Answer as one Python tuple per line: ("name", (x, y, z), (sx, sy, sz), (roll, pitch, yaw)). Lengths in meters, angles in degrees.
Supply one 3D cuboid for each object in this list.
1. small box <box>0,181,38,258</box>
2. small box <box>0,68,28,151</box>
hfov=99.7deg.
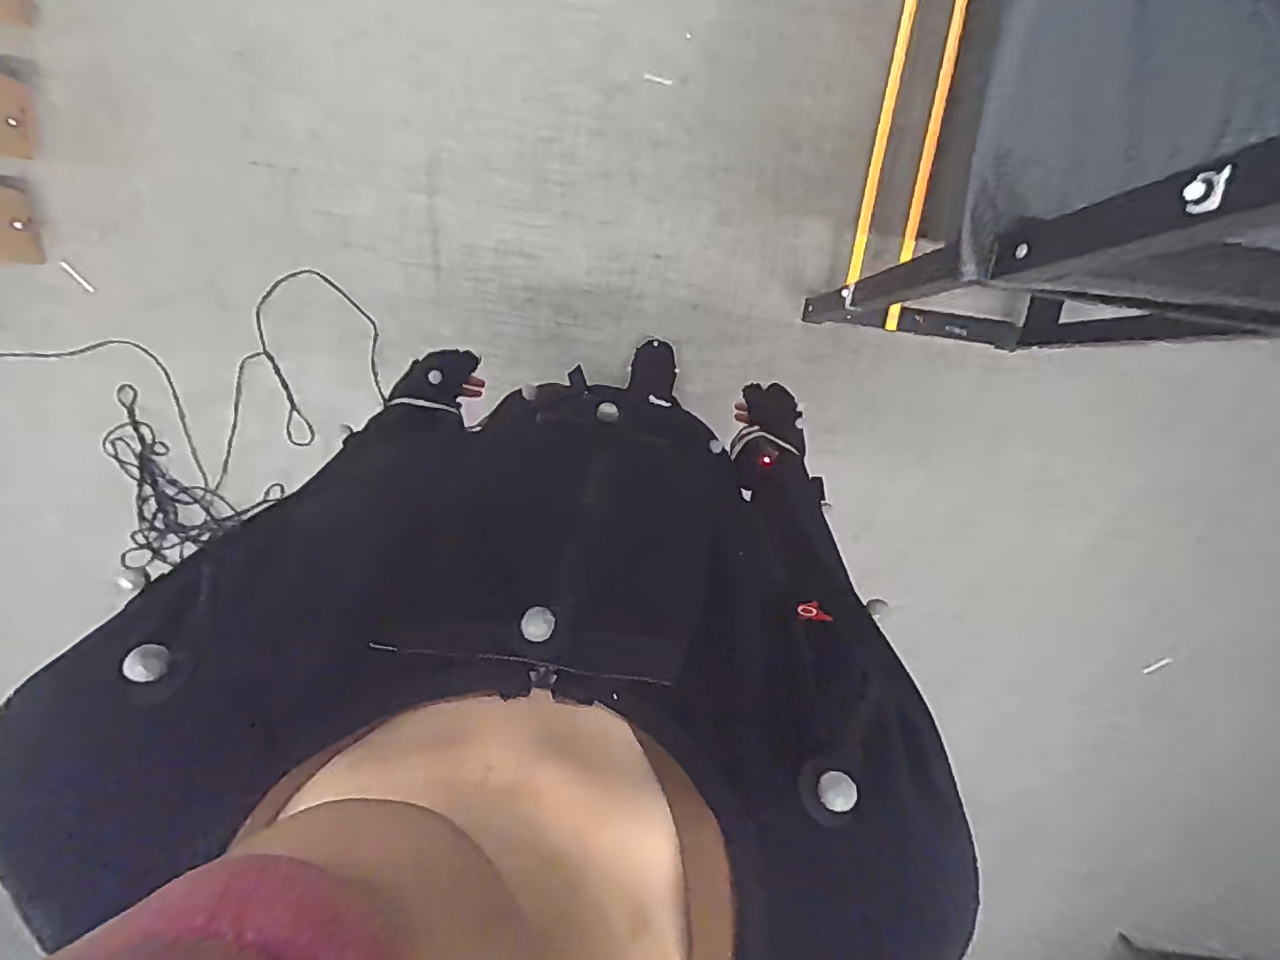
("small box", (-1.579, -0.615, 1.248), (0.179, 0.176, 0.168), (1, 103, -1))
("small box", (-1.538, -0.859, 1.198), (0.179, 0.176, 0.168), (8, 102, -3))
